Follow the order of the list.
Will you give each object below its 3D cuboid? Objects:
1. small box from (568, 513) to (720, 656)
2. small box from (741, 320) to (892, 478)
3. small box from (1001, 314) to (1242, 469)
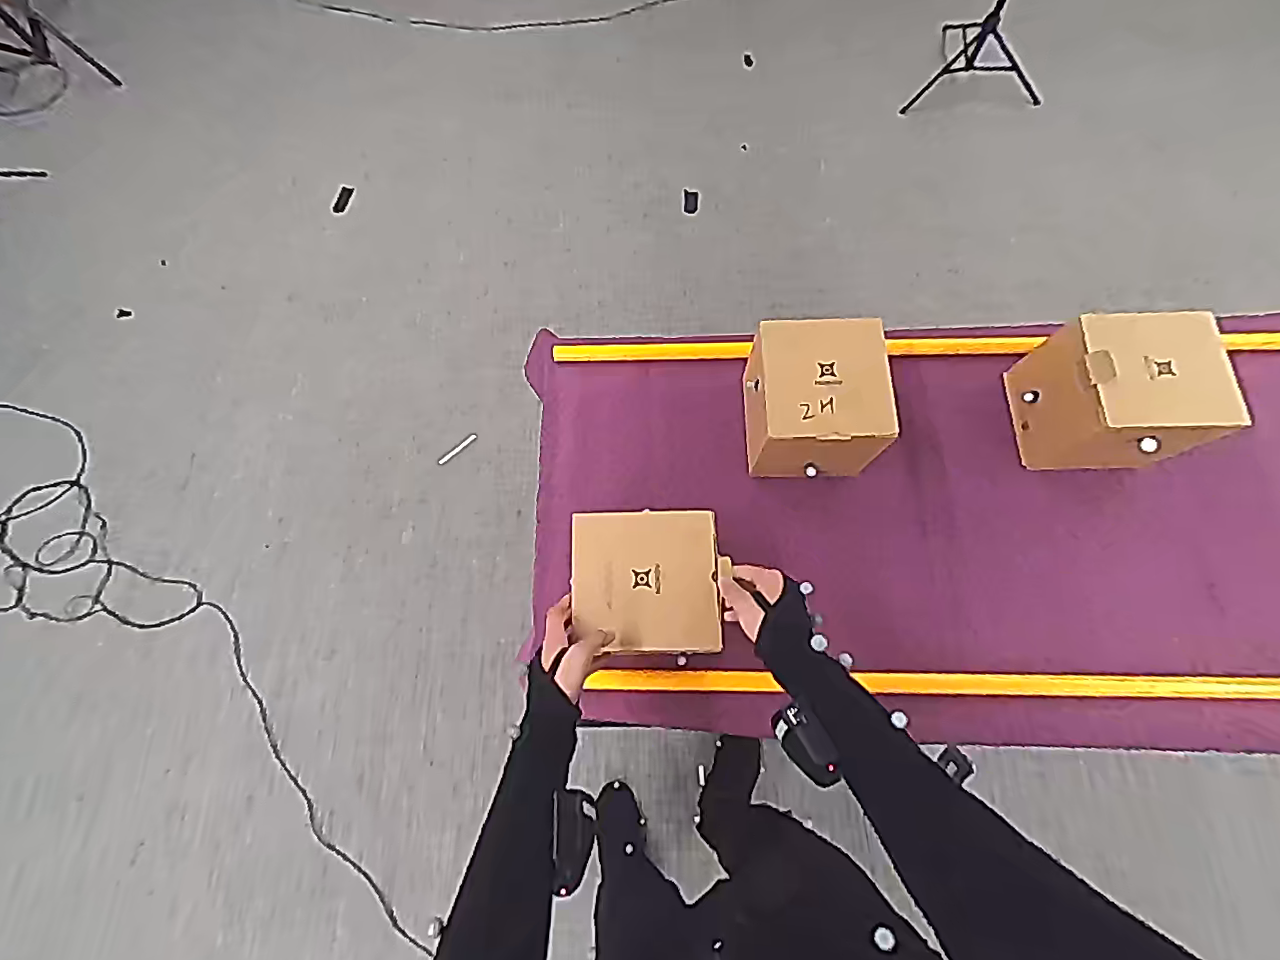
[{"bbox_3d":[0.003,0.144,0.713,0.179,0.176,0.168,-1,71,0],"label":"small box"},{"bbox_3d":[0.242,-0.111,0.789,0.168,0.176,0.179,-1,73,3],"label":"small box"},{"bbox_3d":[0.665,-0.119,0.773,0.179,0.176,0.168,-1,73,3],"label":"small box"}]
